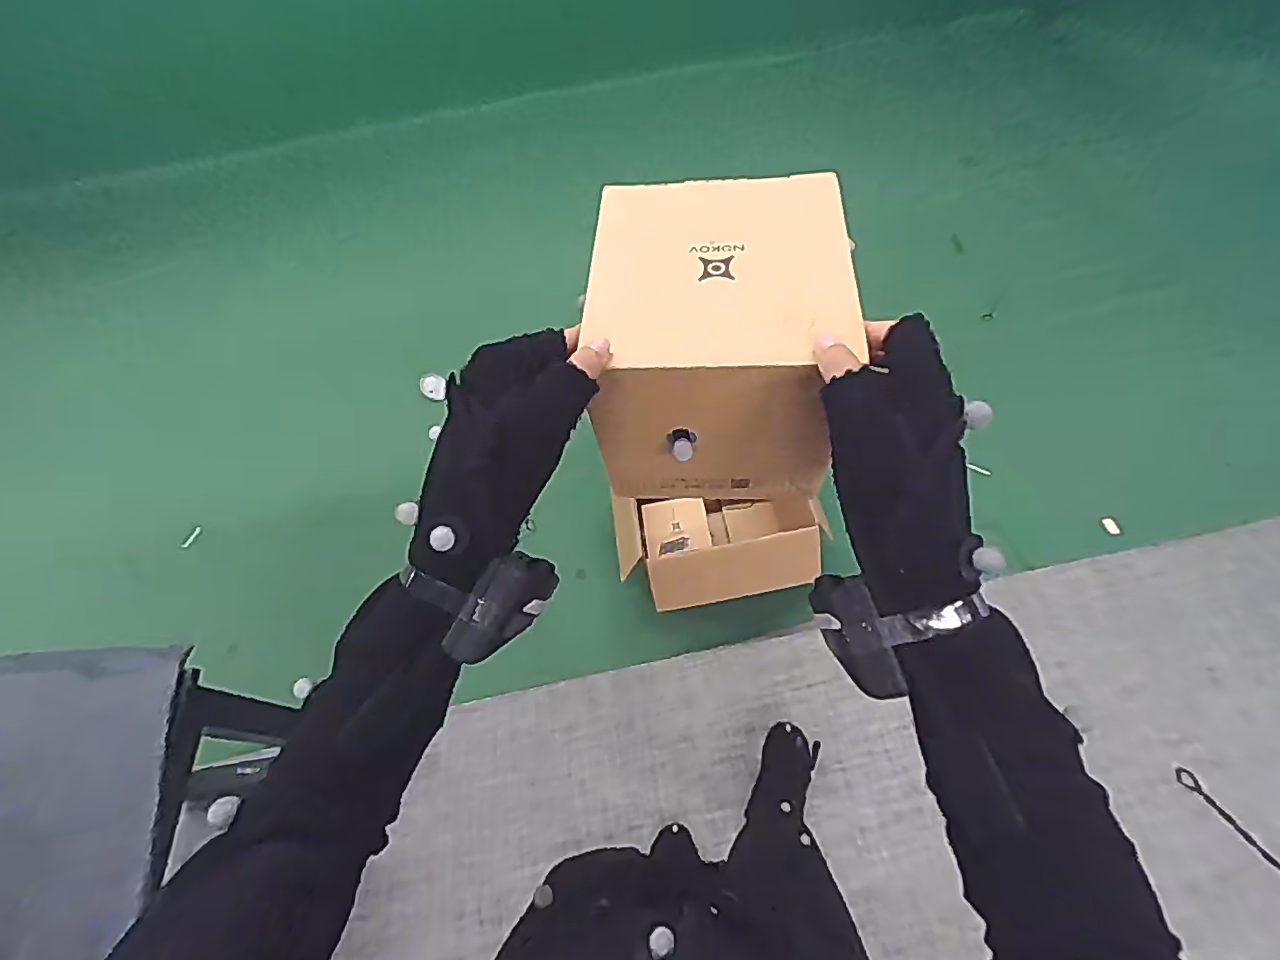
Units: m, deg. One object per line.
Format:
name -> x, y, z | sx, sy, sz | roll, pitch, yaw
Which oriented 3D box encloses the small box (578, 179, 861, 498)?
small box -> 0.058, -0.096, 0.418 | 0.168, 0.176, 0.179 | 0, 59, 7
